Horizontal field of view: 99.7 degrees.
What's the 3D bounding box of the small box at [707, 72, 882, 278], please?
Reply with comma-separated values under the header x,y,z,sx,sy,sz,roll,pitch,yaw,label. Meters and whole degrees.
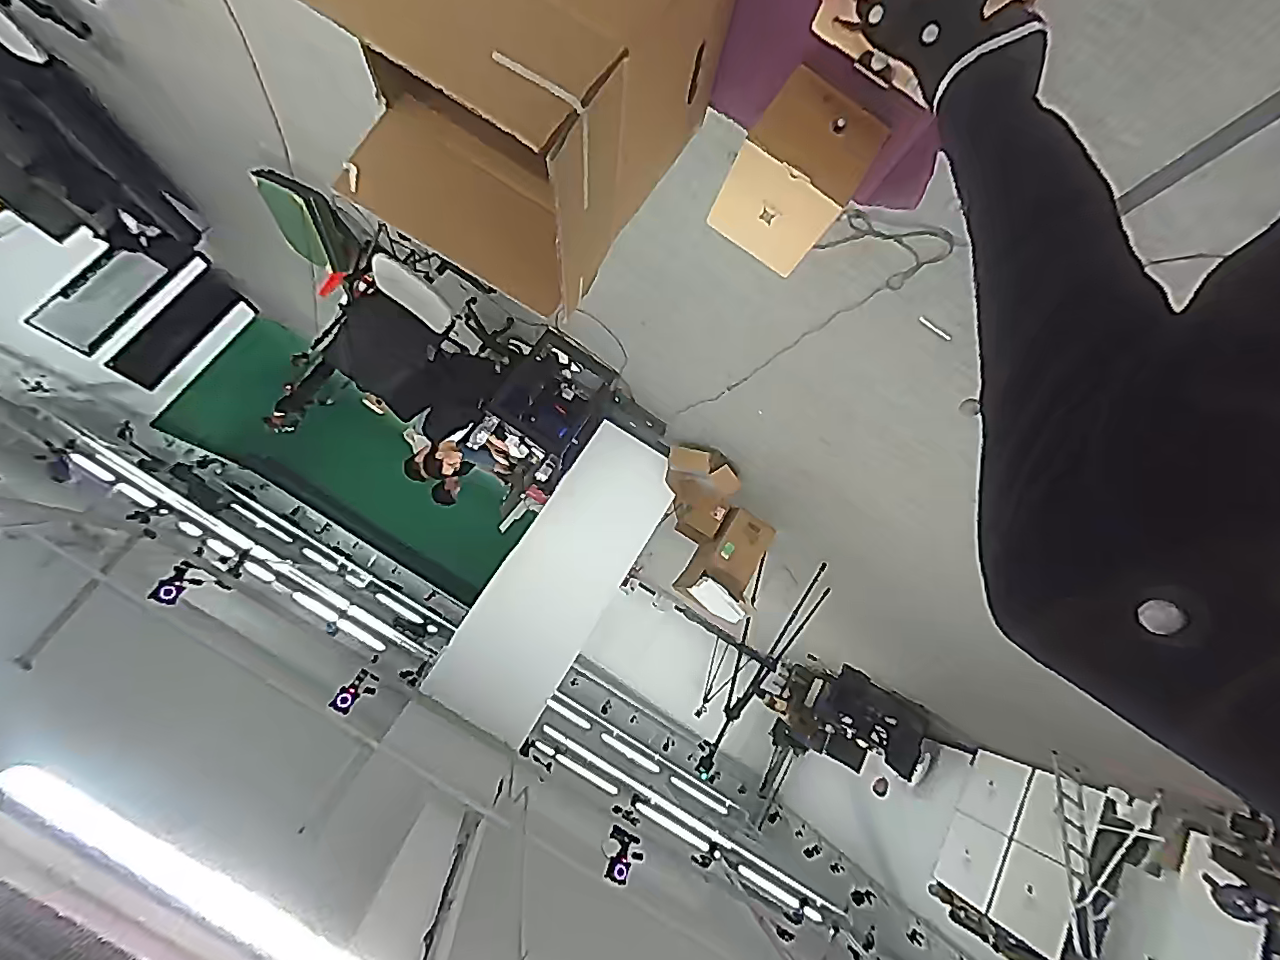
x,y,z,sx,sy,sz,roll,pitch,yaw,label
0.234,-0.461,0.832,0.168,0.176,0.179,34,163,-3,small box
